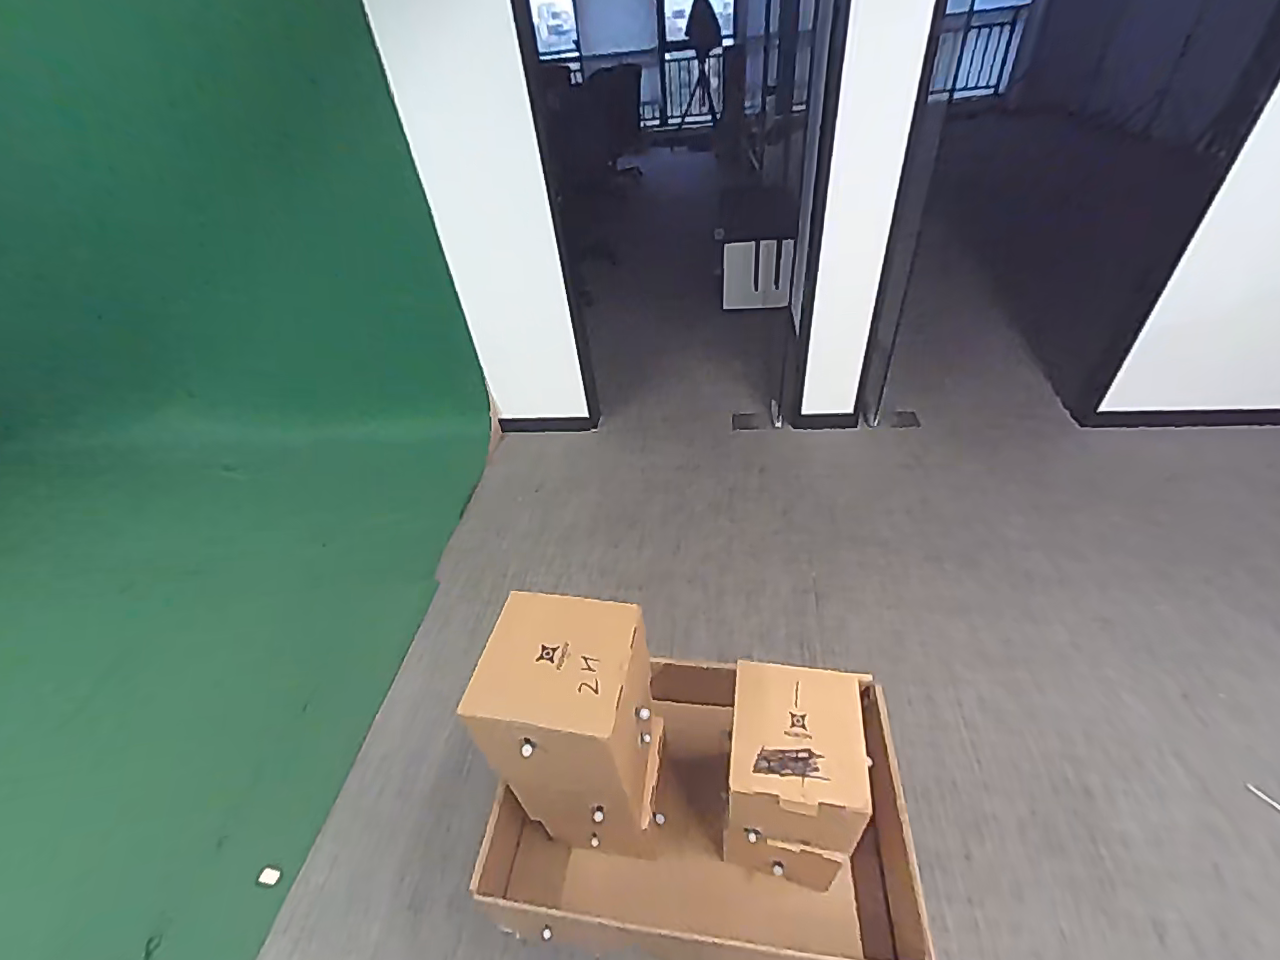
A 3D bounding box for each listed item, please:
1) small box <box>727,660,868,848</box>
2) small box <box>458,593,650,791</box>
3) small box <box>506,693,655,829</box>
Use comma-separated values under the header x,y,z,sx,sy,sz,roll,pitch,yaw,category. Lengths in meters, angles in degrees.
x,y,z,sx,sy,sz,roll,pitch,yaw,category
0.211,0.379,0.750,0.168,0.176,0.179,3,41,13,small box
-0.092,0.265,0.680,0.179,0.176,0.168,4,43,12,small box
-0.072,0.383,0.793,0.168,0.176,0.179,2,41,10,small box
